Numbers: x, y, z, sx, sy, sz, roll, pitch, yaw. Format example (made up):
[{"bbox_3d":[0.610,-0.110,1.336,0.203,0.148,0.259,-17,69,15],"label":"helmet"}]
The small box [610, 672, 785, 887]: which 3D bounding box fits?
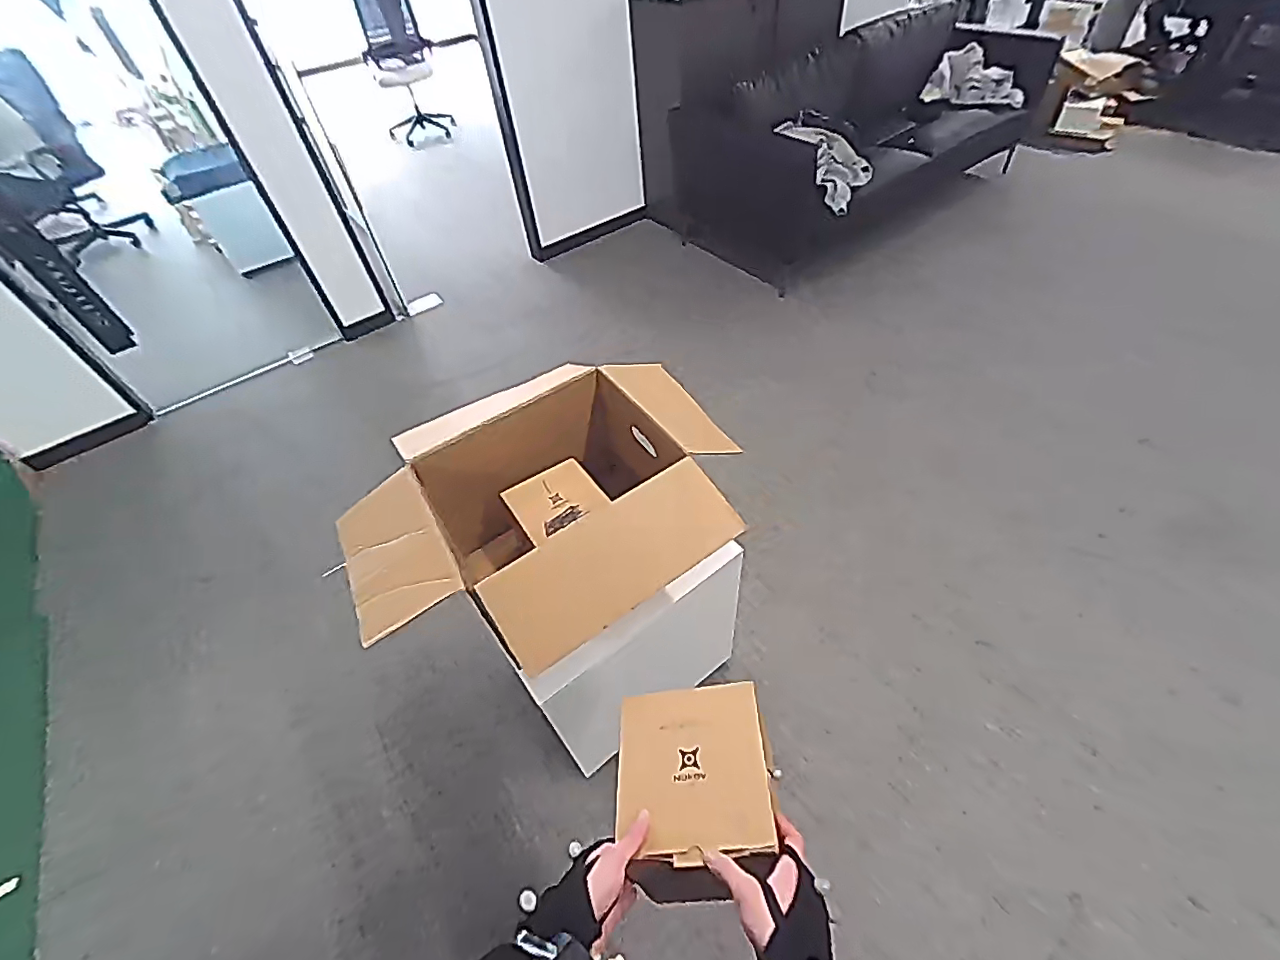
[{"bbox_3d":[0.070,0.357,0.639,0.168,0.176,0.179,-11,38,9],"label":"small box"}]
